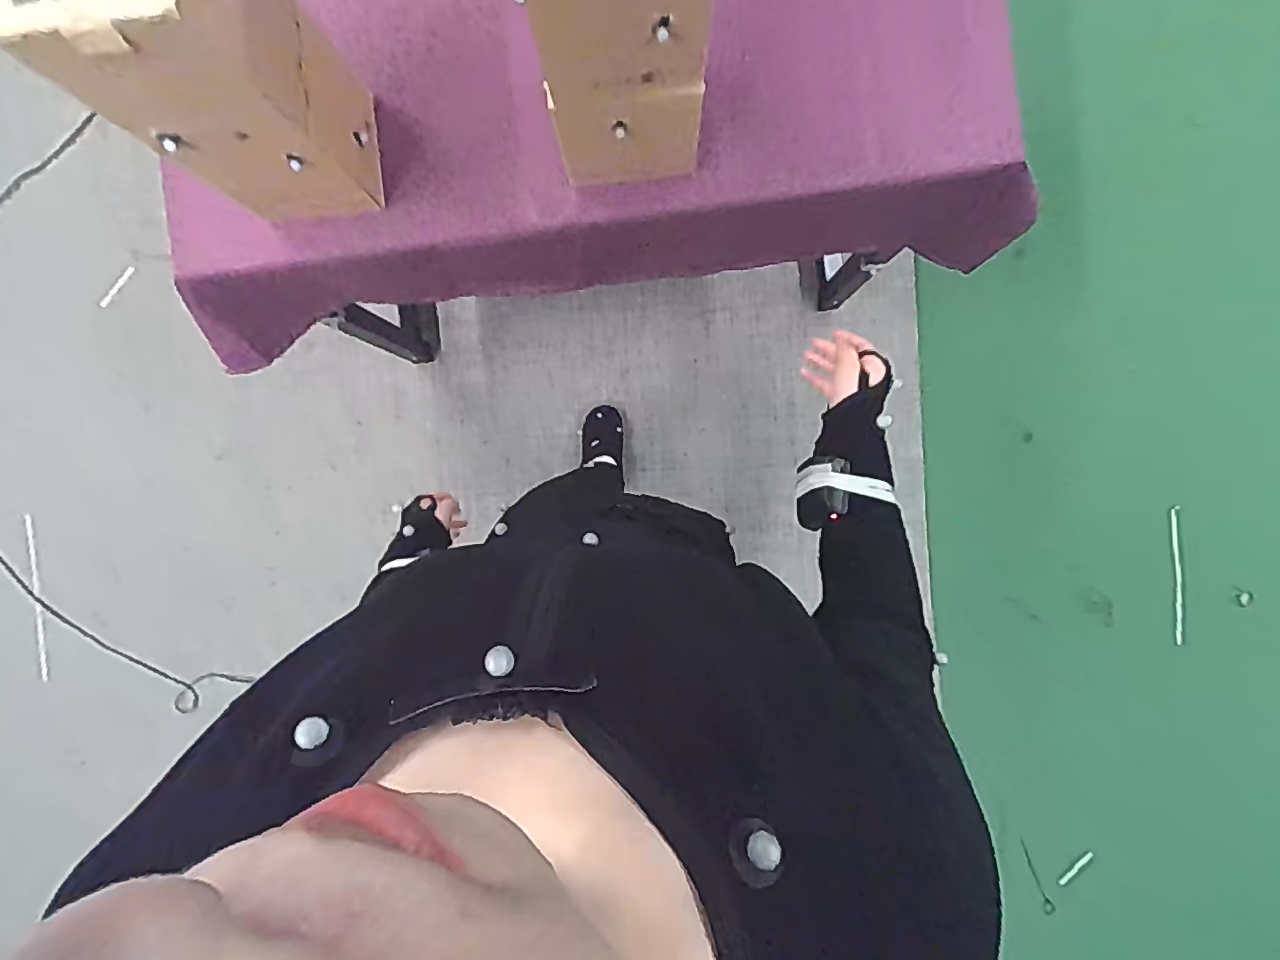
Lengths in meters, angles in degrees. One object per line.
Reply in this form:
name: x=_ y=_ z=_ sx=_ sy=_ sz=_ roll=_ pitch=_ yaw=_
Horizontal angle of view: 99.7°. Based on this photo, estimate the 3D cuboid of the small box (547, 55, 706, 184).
small box: x=-0.015 y=-0.496 z=0.676 sx=0.179 sy=0.176 sz=0.168 roll=-5 pitch=91 yaw=1

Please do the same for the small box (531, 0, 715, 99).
small box: x=-0.019 y=-0.499 z=0.513 sx=0.168 sy=0.176 sz=0.179 roll=-7 pitch=90 yaw=1

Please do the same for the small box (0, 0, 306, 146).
small box: x=-0.455 y=-0.455 z=0.523 sx=0.168 sy=0.176 sz=0.179 roll=-7 pitch=89 yaw=0

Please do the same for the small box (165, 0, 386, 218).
small box: x=-0.454 y=-0.455 z=0.687 sx=0.179 sy=0.176 sz=0.168 roll=-6 pitch=91 yaw=0
